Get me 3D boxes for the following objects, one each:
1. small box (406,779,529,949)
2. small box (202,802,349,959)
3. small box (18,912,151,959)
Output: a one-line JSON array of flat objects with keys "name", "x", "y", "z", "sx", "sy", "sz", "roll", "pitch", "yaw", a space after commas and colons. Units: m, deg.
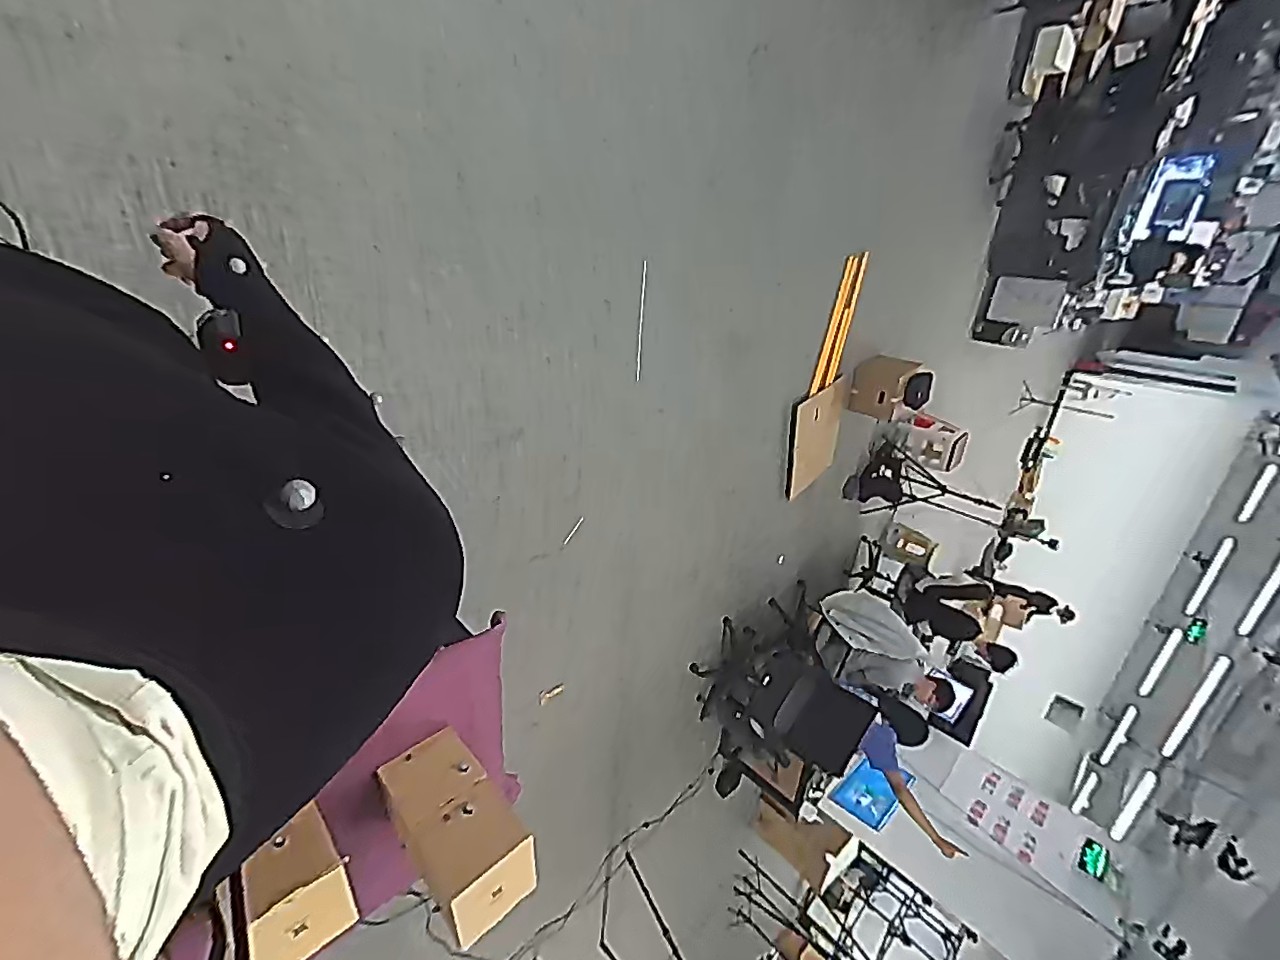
[{"name": "small box", "x": -0.334, "y": 0.733, "z": 1.052, "sx": 0.168, "sy": 0.176, "sz": 0.179, "roll": -21, "pitch": 125, "yaw": -40}, {"name": "small box", "x": -0.648, "y": 0.730, "z": 0.965, "sx": 0.168, "sy": 0.176, "sz": 0.179, "roll": -21, "pitch": 123, "yaw": -41}, {"name": "small box", "x": -0.834, "y": 0.795, "z": 0.789, "sx": 0.168, "sy": 0.176, "sz": 0.179, "roll": -22, "pitch": 124, "yaw": -41}]
